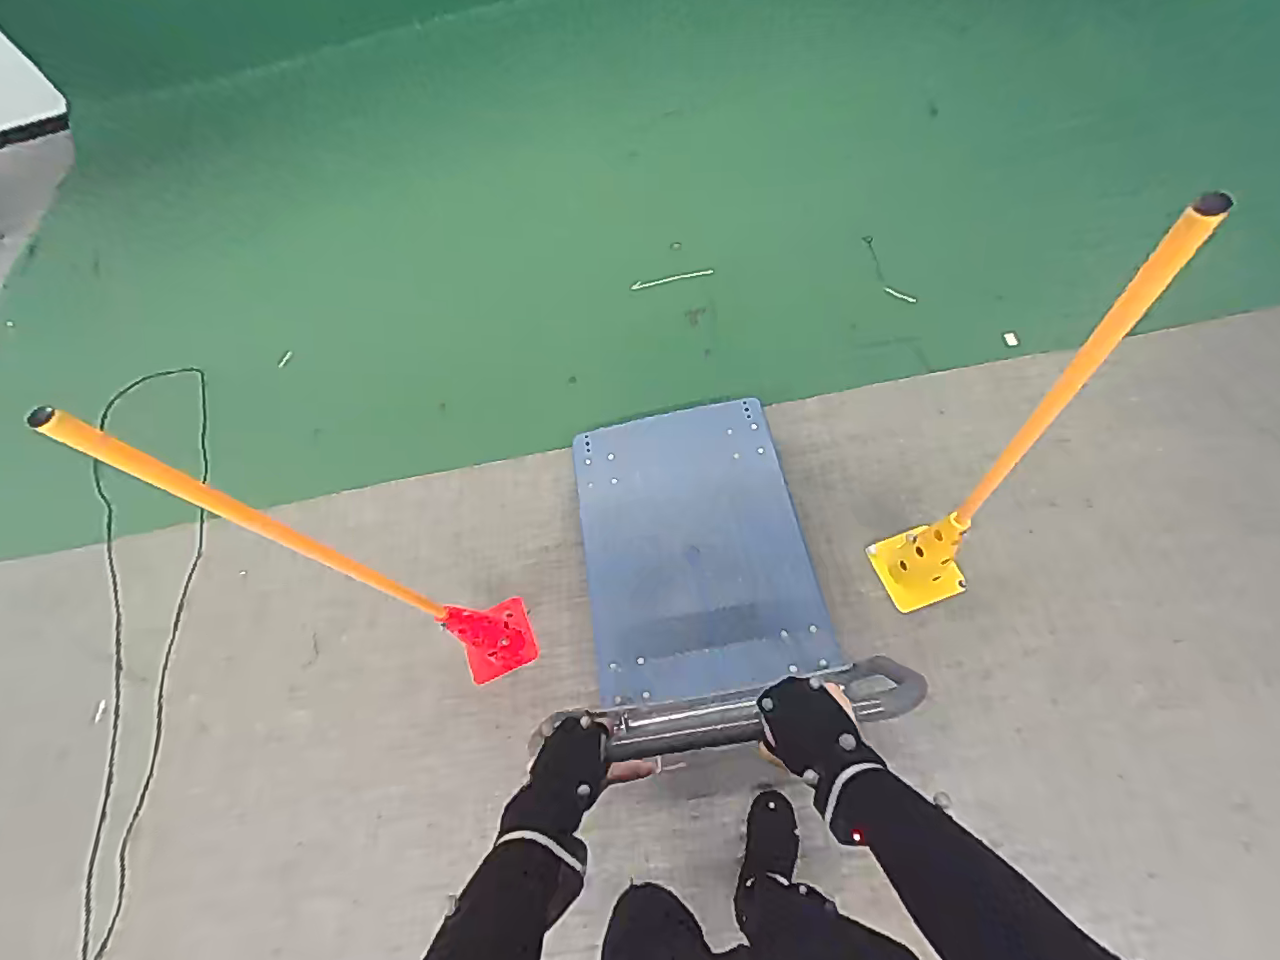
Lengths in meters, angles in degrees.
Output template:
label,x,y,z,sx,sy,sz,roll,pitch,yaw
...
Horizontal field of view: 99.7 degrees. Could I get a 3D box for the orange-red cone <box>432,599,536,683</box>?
label,x,y,z,sx,sy,sz,roll,pitch,yaw
orange-red cone,-0.440,0.390,1.414,0.199,0.360,0.198,-25,62,-1
